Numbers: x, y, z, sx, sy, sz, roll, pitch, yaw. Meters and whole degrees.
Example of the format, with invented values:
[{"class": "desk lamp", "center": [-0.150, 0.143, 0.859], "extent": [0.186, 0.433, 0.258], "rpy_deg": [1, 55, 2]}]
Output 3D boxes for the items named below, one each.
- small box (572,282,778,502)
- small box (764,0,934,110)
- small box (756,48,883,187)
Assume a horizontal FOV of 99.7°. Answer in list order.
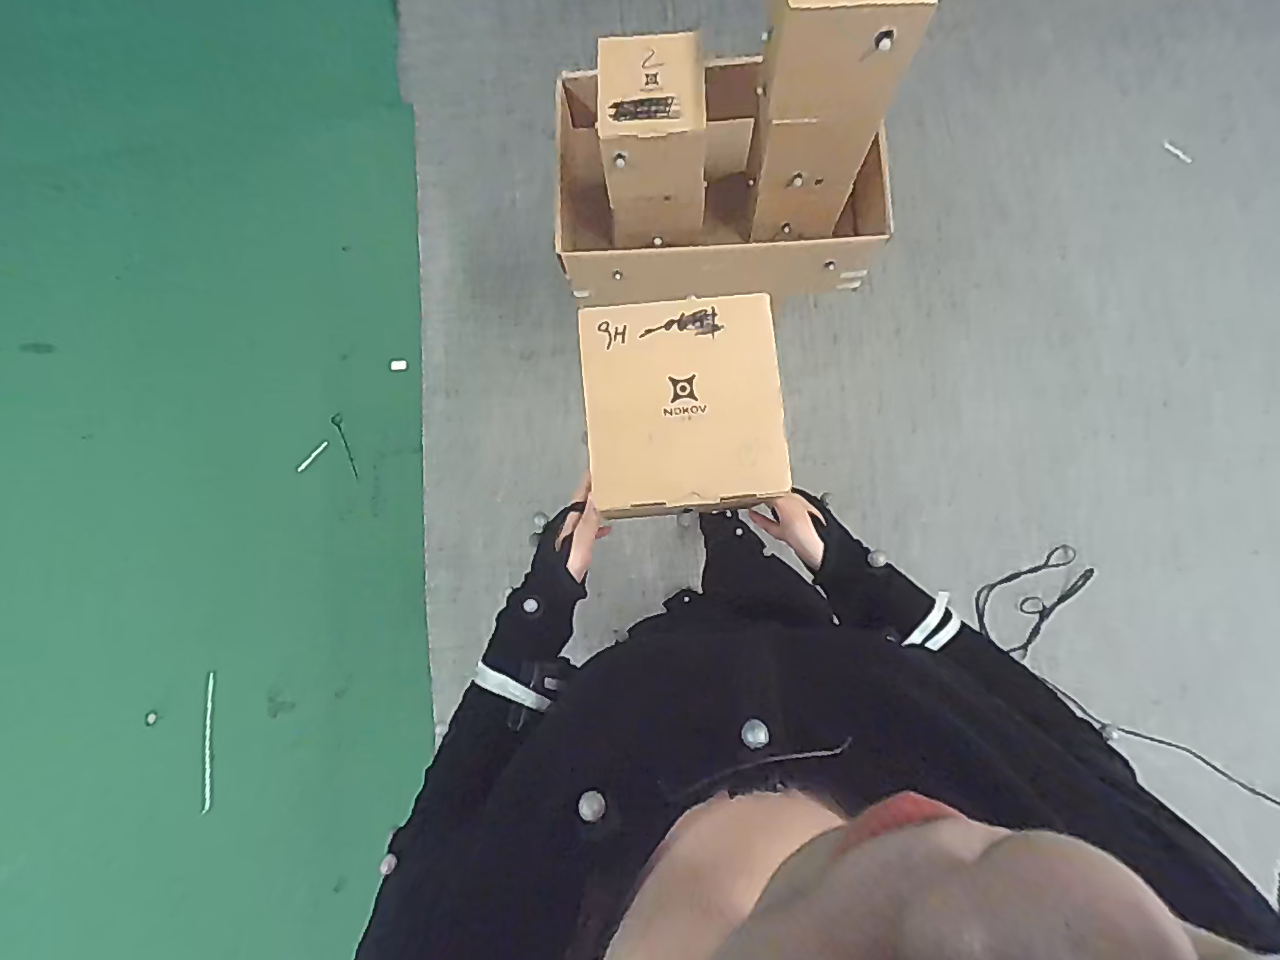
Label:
[{"class": "small box", "center": [0.030, -0.070, 0.531], "extent": [0.168, 0.176, 0.179], "rpy_deg": [-4, 84, 0]}, {"class": "small box", "center": [0.268, -0.630, 0.720], "extent": [0.179, 0.176, 0.168], "rpy_deg": [2, 82, 6]}, {"class": "small box", "center": [0.282, -0.613, 0.884], "extent": [0.168, 0.176, 0.179], "rpy_deg": [1, 83, 5]}]
